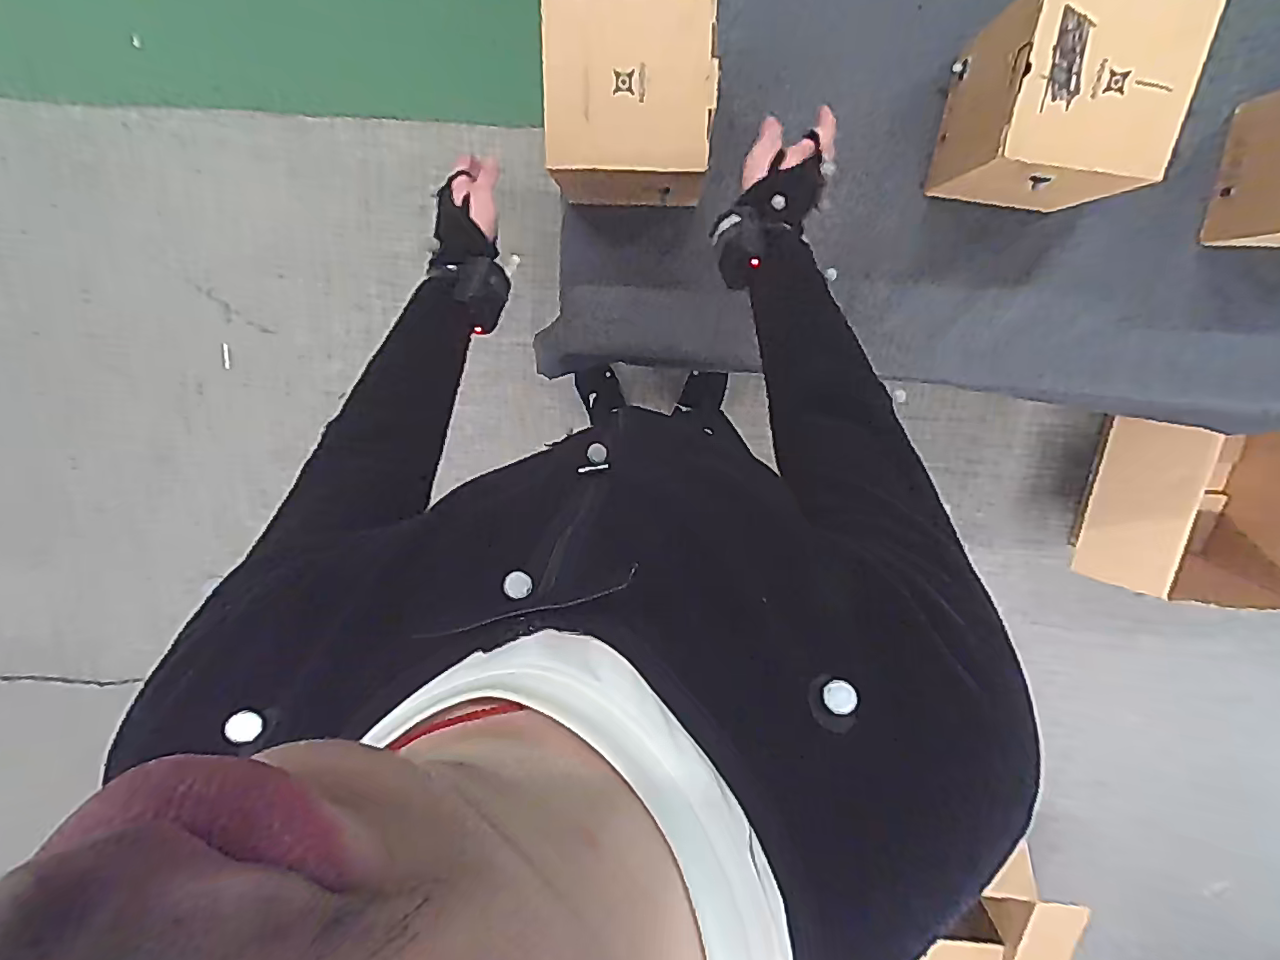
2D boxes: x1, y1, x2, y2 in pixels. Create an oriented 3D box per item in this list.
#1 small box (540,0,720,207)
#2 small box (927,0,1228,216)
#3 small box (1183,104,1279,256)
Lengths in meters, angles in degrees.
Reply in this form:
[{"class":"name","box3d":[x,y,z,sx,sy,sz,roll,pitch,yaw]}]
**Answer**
[{"class":"small box","box3d":[-0.009,-0.419,0.614,0.179,0.176,0.168,1,106,2]},{"class":"small box","box3d":[0.467,-0.414,0.616,0.179,0.176,0.168,11,108,-1]},{"class":"small box","box3d":[0.829,-0.363,0.642,0.179,0.176,0.168,-1,108,2]}]
